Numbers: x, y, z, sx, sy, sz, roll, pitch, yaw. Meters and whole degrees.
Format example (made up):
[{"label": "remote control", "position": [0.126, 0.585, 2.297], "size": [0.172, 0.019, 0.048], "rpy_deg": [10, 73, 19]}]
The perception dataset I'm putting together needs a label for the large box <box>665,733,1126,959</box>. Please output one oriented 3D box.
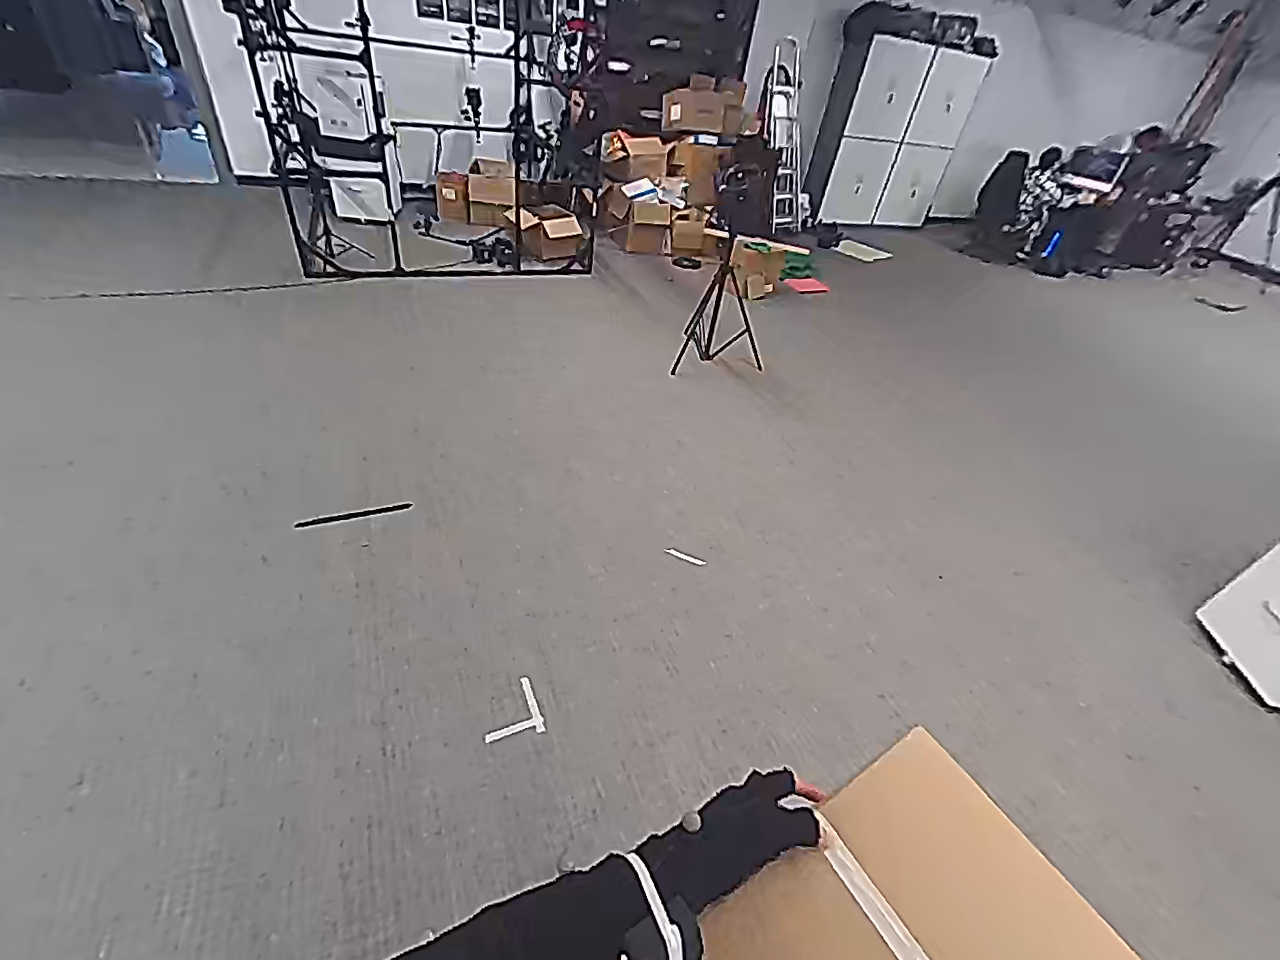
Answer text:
[{"label": "large box", "position": [0.263, 0.546, 0.518], "size": [0.320, 0.320, 0.408], "rpy_deg": [-26, 54, -21]}]
